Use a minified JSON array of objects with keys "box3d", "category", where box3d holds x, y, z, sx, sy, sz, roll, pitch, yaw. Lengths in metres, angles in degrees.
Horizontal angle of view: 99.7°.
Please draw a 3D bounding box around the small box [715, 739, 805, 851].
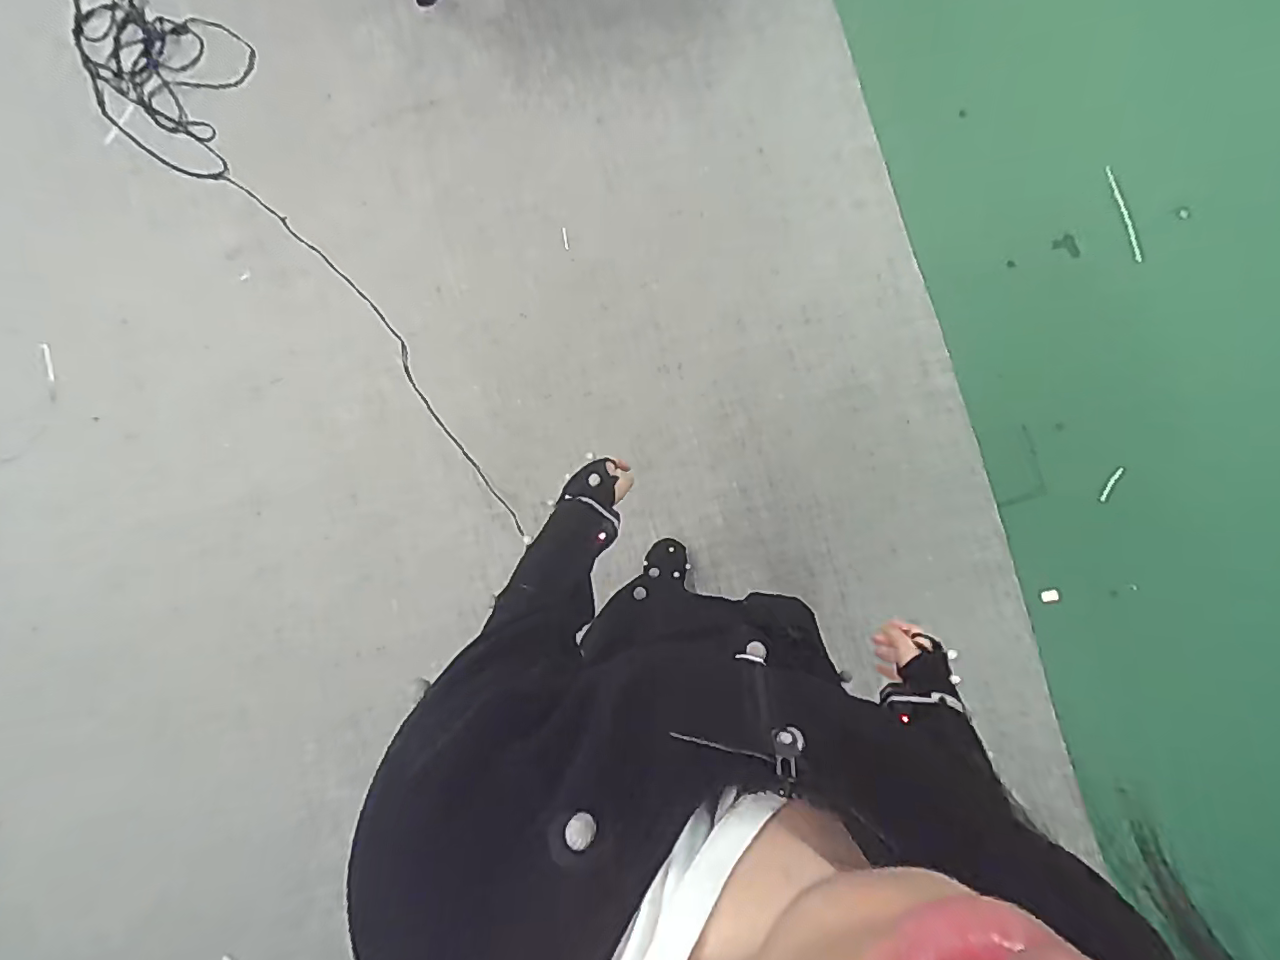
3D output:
[{"box3d":[0.302,0.799,1.387,0.168,0.176,0.179,-13,85,-3],"category":"small box"}]
